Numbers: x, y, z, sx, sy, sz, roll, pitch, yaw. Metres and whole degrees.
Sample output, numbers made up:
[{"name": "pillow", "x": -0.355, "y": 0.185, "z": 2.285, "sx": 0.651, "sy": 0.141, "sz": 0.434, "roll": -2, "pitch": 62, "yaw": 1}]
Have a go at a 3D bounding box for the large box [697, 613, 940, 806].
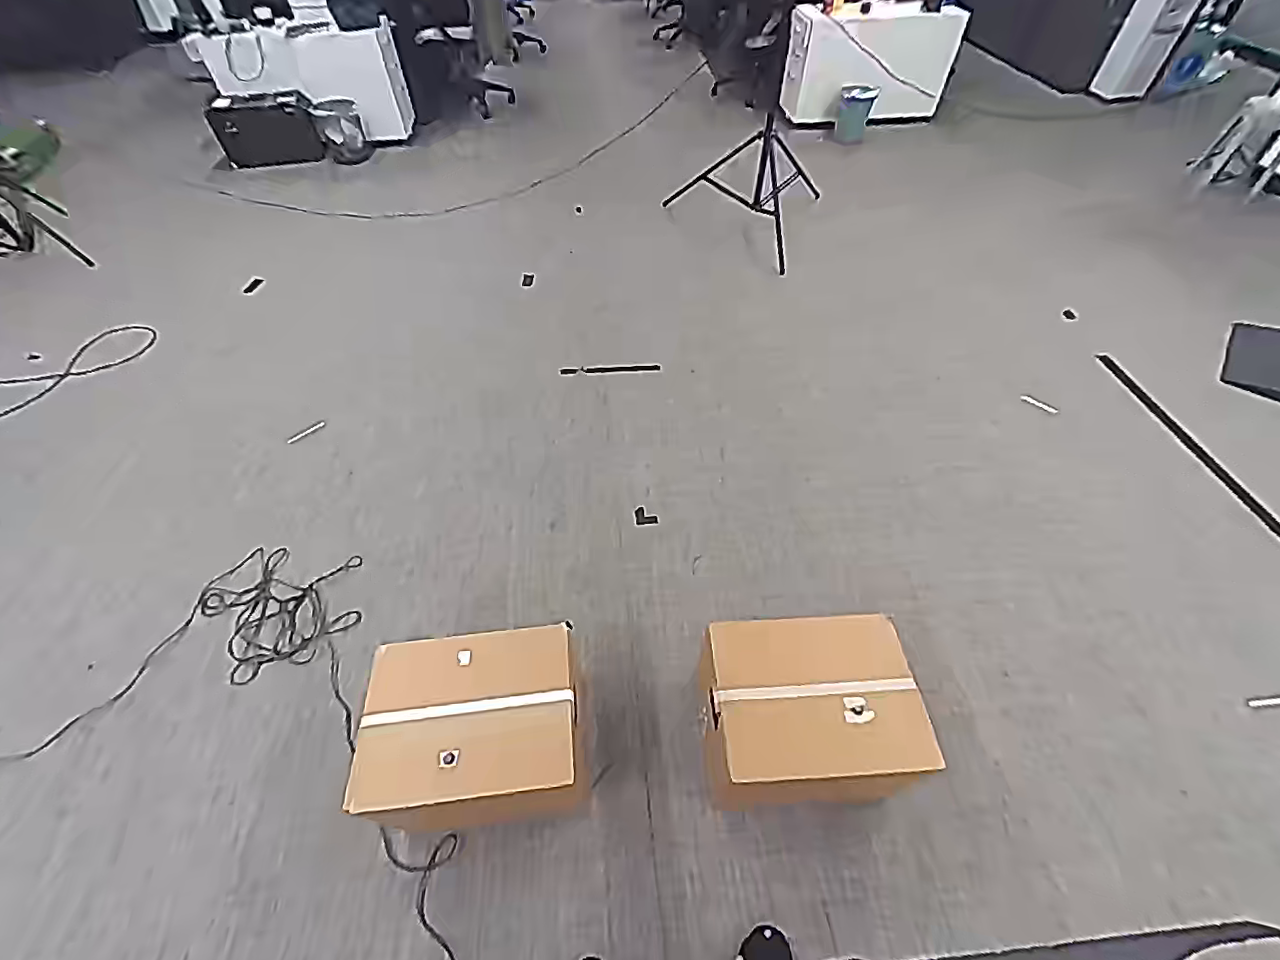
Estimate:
[{"name": "large box", "x": 0.358, "y": 0.517, "z": 1.213, "sx": 0.408, "sy": 0.320, "sz": 0.320, "roll": -2, "pitch": 51, "yaw": -2}]
